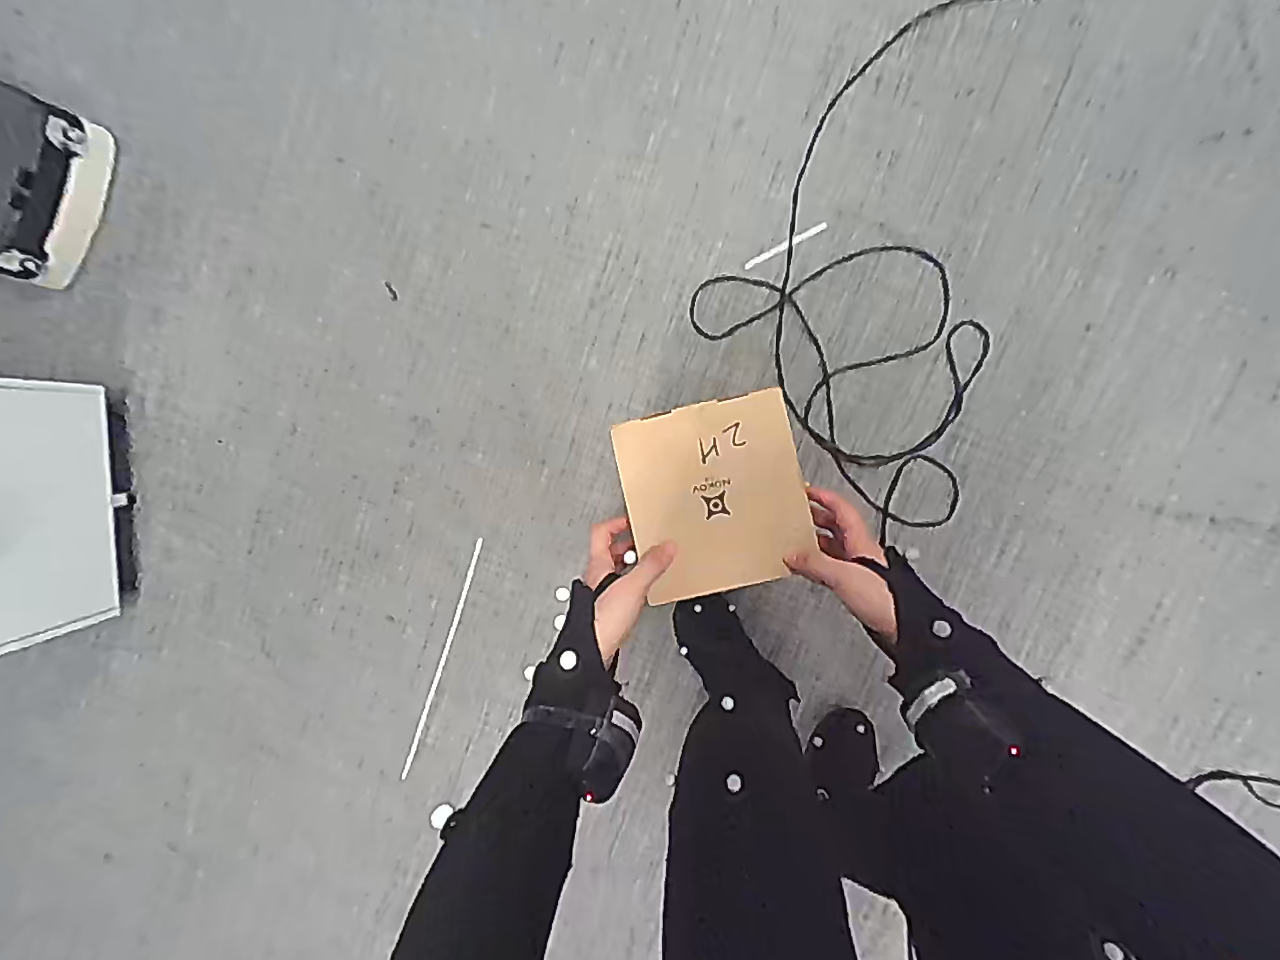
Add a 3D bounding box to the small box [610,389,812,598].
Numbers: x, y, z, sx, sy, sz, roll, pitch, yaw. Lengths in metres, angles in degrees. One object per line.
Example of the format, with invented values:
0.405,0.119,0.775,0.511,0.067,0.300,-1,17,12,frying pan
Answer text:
0.071,0.015,0.594,0.168,0.176,0.179,-12,87,2,small box
